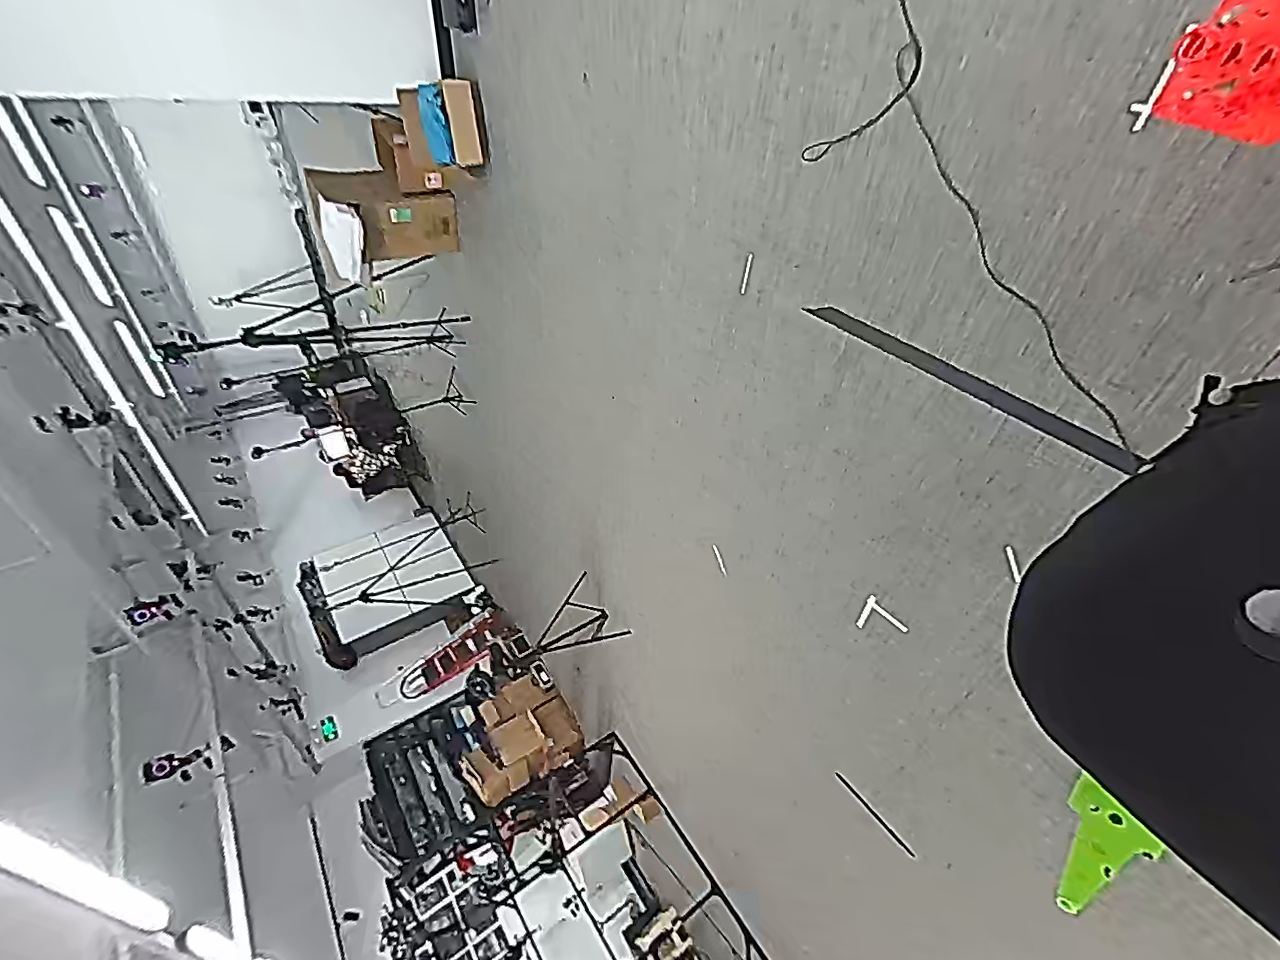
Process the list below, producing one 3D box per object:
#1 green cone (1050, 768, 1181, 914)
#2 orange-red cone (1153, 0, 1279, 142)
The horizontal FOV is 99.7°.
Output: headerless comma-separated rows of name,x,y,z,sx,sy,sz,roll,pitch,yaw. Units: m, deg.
green cone,1.138,0.945,1.353,0.202,0.368,0.200,31,134,49
orange-red cone,0.848,-0.616,0.777,0.199,0.360,0.198,48,146,29
